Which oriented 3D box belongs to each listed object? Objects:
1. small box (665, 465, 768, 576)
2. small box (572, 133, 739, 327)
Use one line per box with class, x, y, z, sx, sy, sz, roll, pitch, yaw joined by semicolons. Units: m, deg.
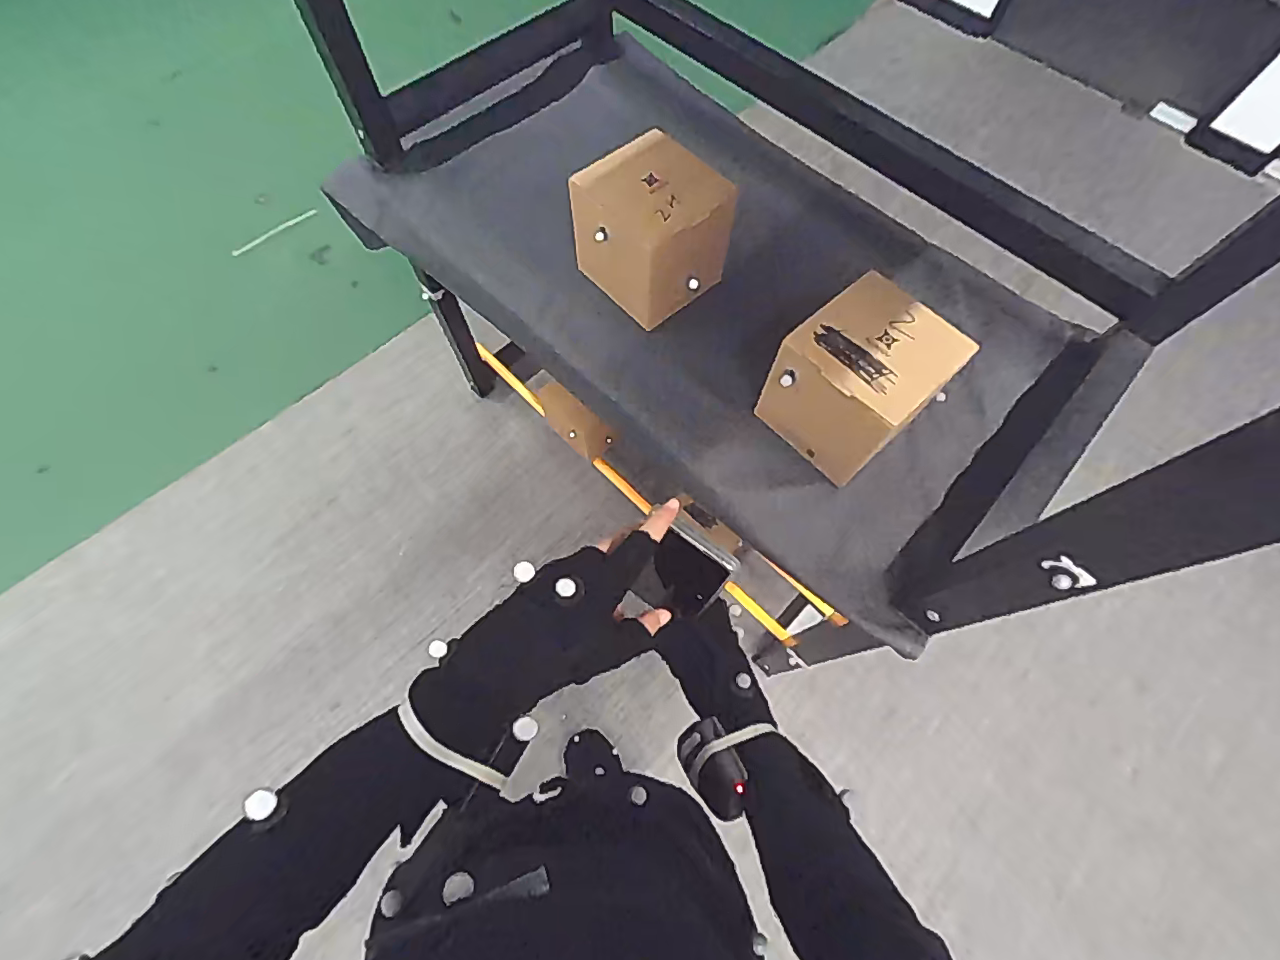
small box;0.174;0.103;1.289;0.179;0.176;0.168;-39;73;-16
small box;0.018;-0.368;0.813;0.168;0.176;0.179;-39;73;-16
